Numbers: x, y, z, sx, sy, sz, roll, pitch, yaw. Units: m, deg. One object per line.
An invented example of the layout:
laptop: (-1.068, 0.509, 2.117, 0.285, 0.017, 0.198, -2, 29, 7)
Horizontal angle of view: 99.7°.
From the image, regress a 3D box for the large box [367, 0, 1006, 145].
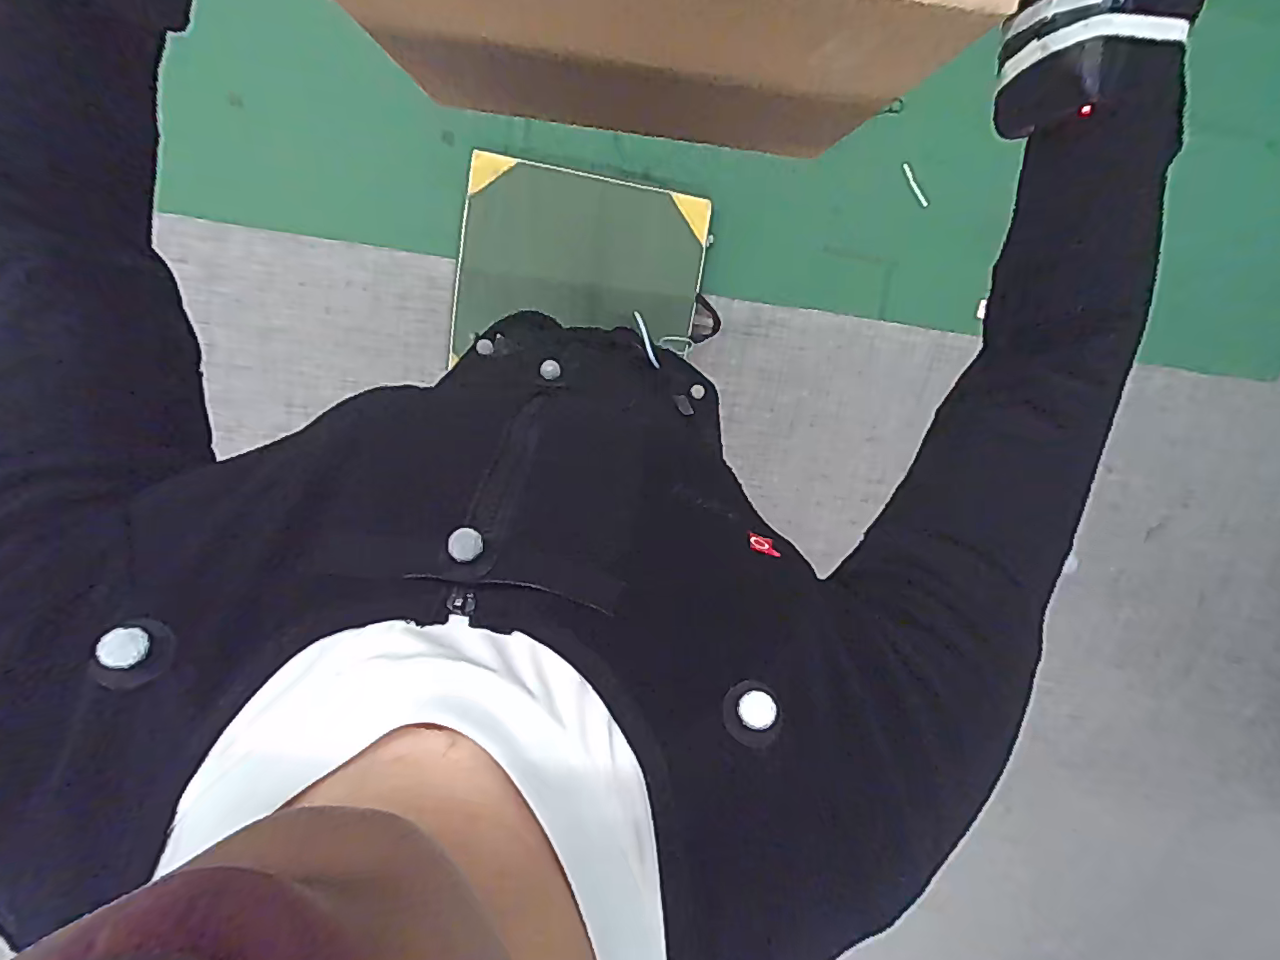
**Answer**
large box: (0.017, -0.468, 0.377, 0.408, 0.320, 0.320, 5, 109, -5)
